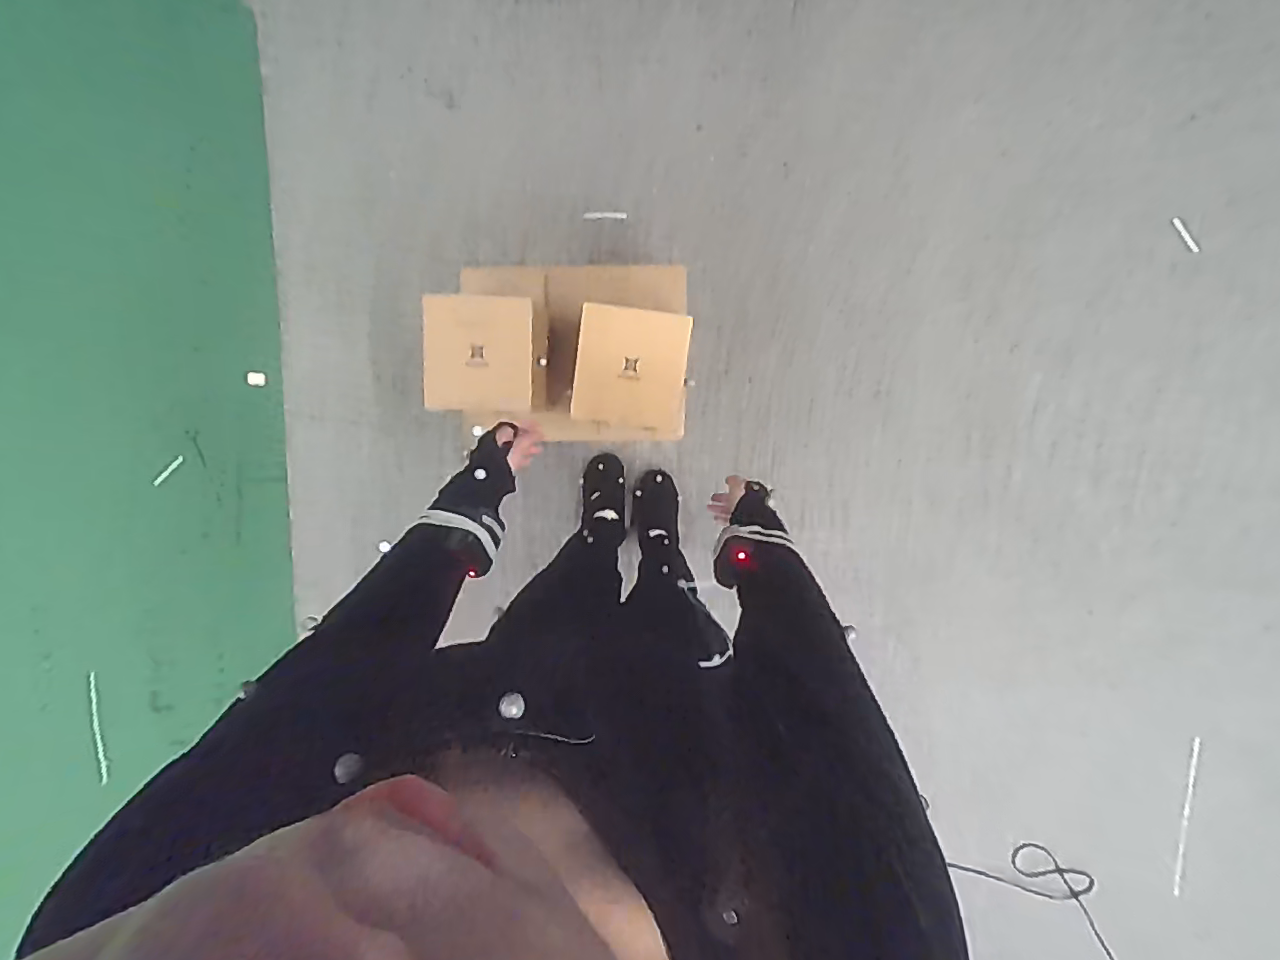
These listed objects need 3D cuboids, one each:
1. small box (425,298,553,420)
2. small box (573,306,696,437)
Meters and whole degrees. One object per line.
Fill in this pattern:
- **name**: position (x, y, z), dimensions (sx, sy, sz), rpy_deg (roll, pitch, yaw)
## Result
- **small box**: position (-0.239, -0.193, 0.892), dimensions (0.168, 0.176, 0.179), rpy_deg (2, 98, 0)
- **small box**: position (-0.006, -0.171, 0.882), dimensions (0.168, 0.176, 0.179), rpy_deg (8, 98, 3)
